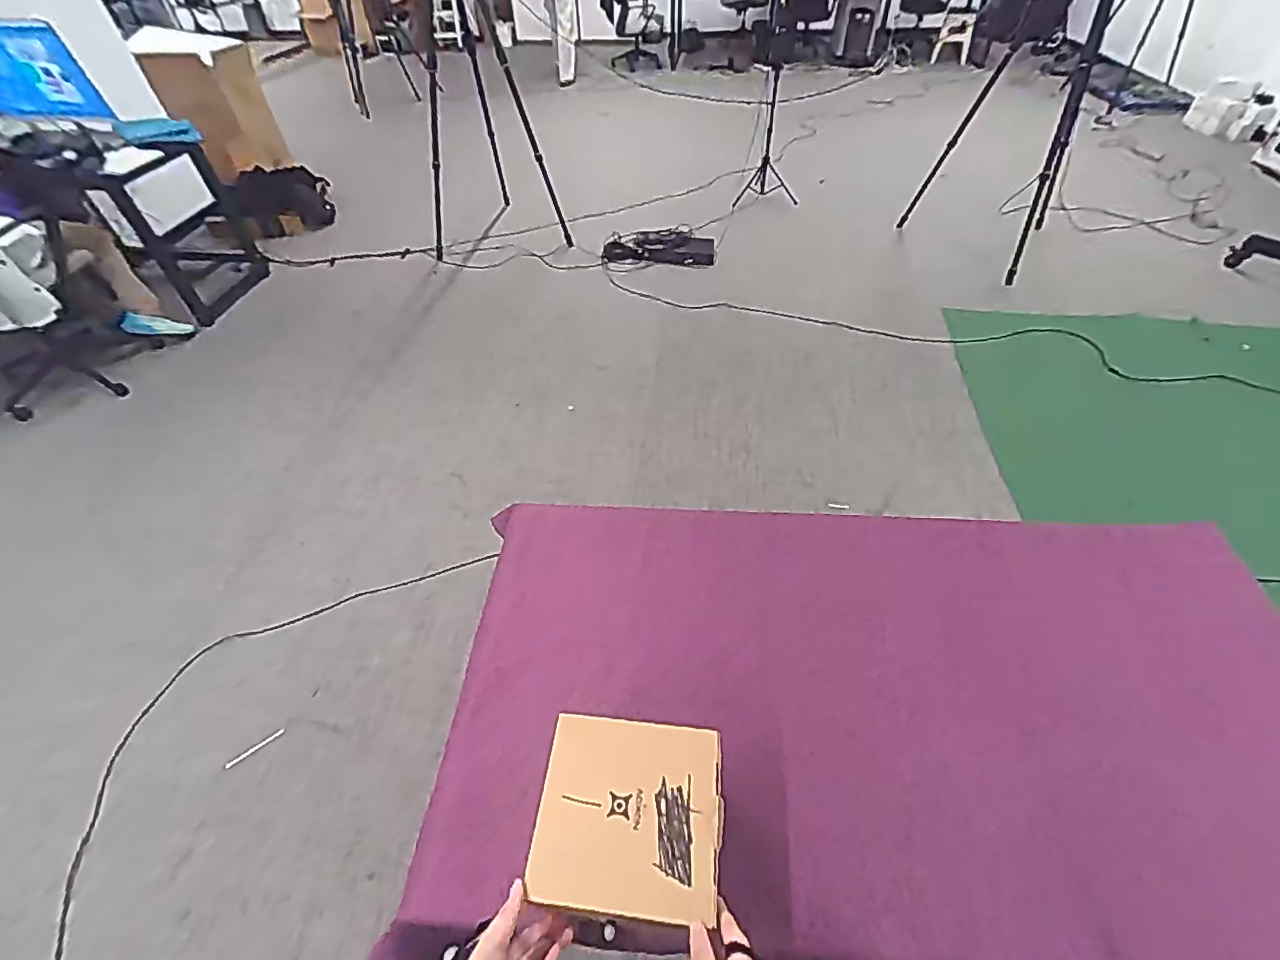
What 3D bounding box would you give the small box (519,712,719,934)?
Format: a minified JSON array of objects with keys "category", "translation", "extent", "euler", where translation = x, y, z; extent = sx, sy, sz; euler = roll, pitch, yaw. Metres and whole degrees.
[{"category":"small box","translation":[-0.011,0.374,0.587],"extent":[0.179,0.176,0.168],"euler":[4,47,6]}]
